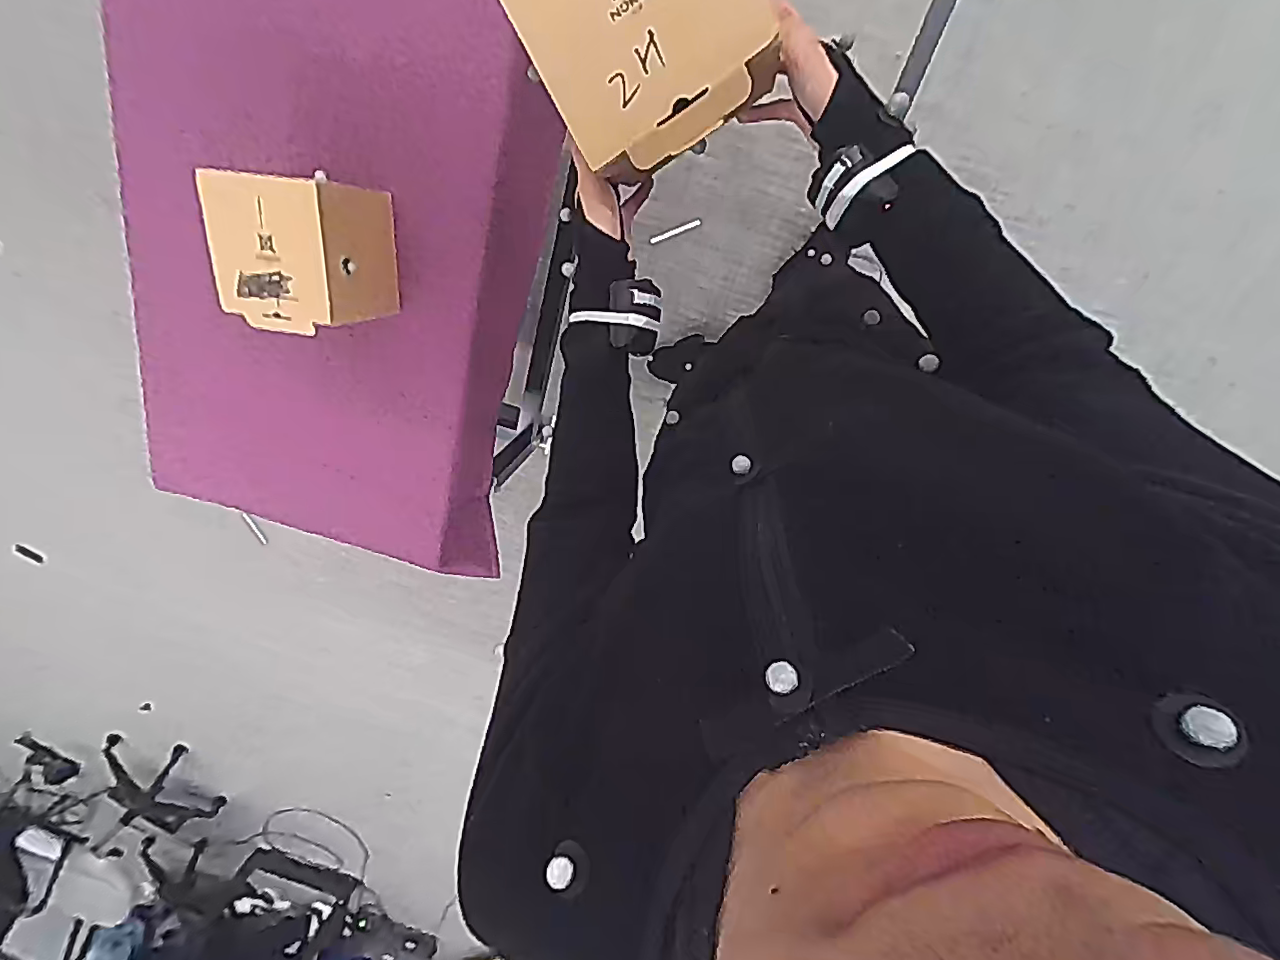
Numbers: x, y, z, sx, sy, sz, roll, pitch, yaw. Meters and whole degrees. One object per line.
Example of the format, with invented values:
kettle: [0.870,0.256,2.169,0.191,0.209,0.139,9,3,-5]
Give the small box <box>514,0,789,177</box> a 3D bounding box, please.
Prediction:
small box: [0.007,-0.385,0.451,0.168,0.176,0.179,-24,108,20]

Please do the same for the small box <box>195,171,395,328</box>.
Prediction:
small box: [-0.474,-0.327,0.775,0.168,0.176,0.179,8,113,5]
